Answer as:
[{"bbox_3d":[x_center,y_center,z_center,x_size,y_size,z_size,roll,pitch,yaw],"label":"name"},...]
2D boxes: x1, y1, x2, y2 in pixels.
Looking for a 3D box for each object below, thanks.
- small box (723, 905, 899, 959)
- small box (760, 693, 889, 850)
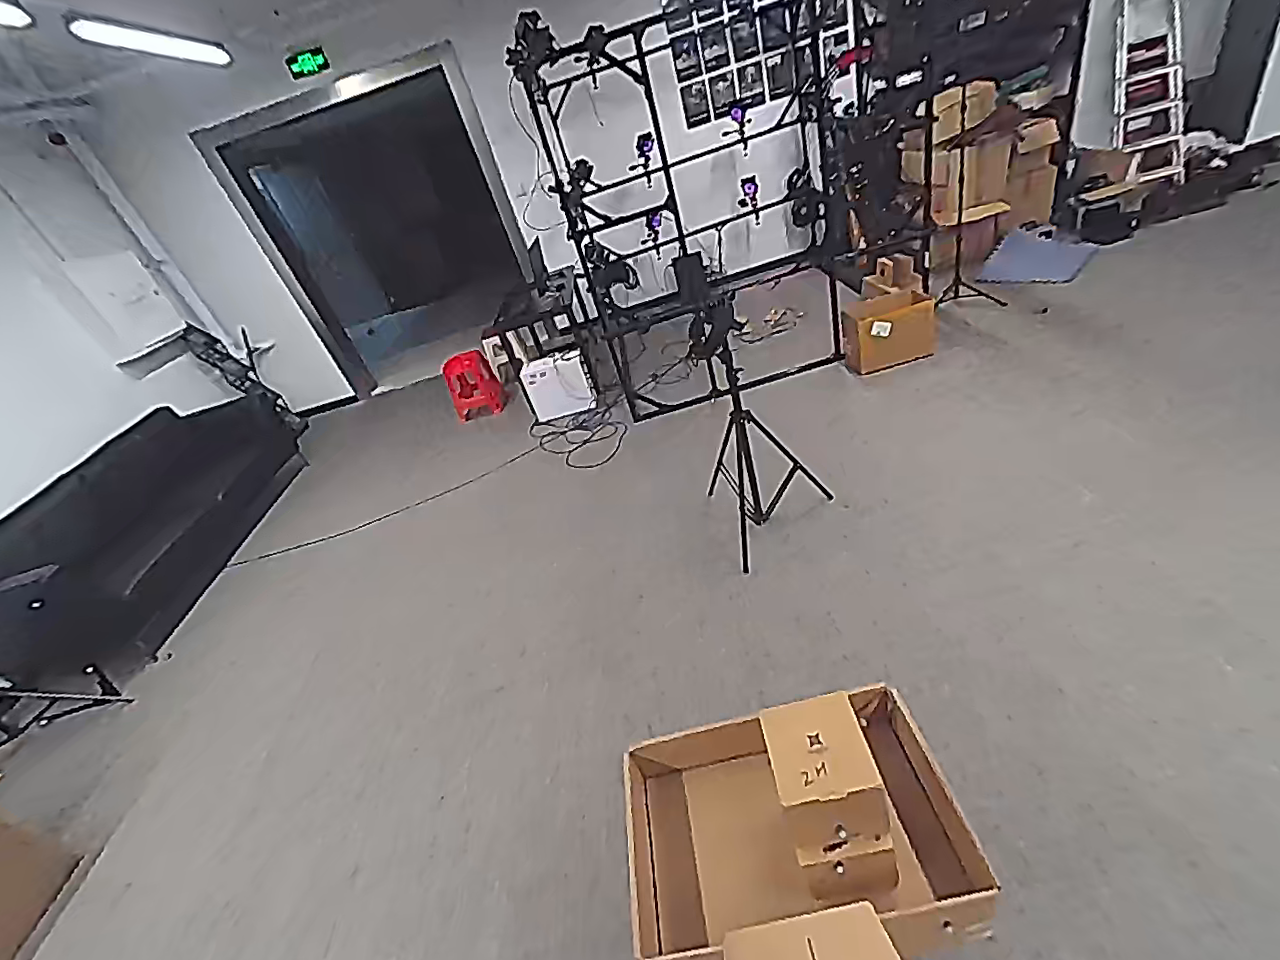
[{"bbox_3d":[0.185,0.566,0.513,0.168,0.176,0.179,-7,19,-7],"label":"small box"},{"bbox_3d":[0.327,0.520,0.968,0.168,0.176,0.179,-17,33,8],"label":"small box"}]
